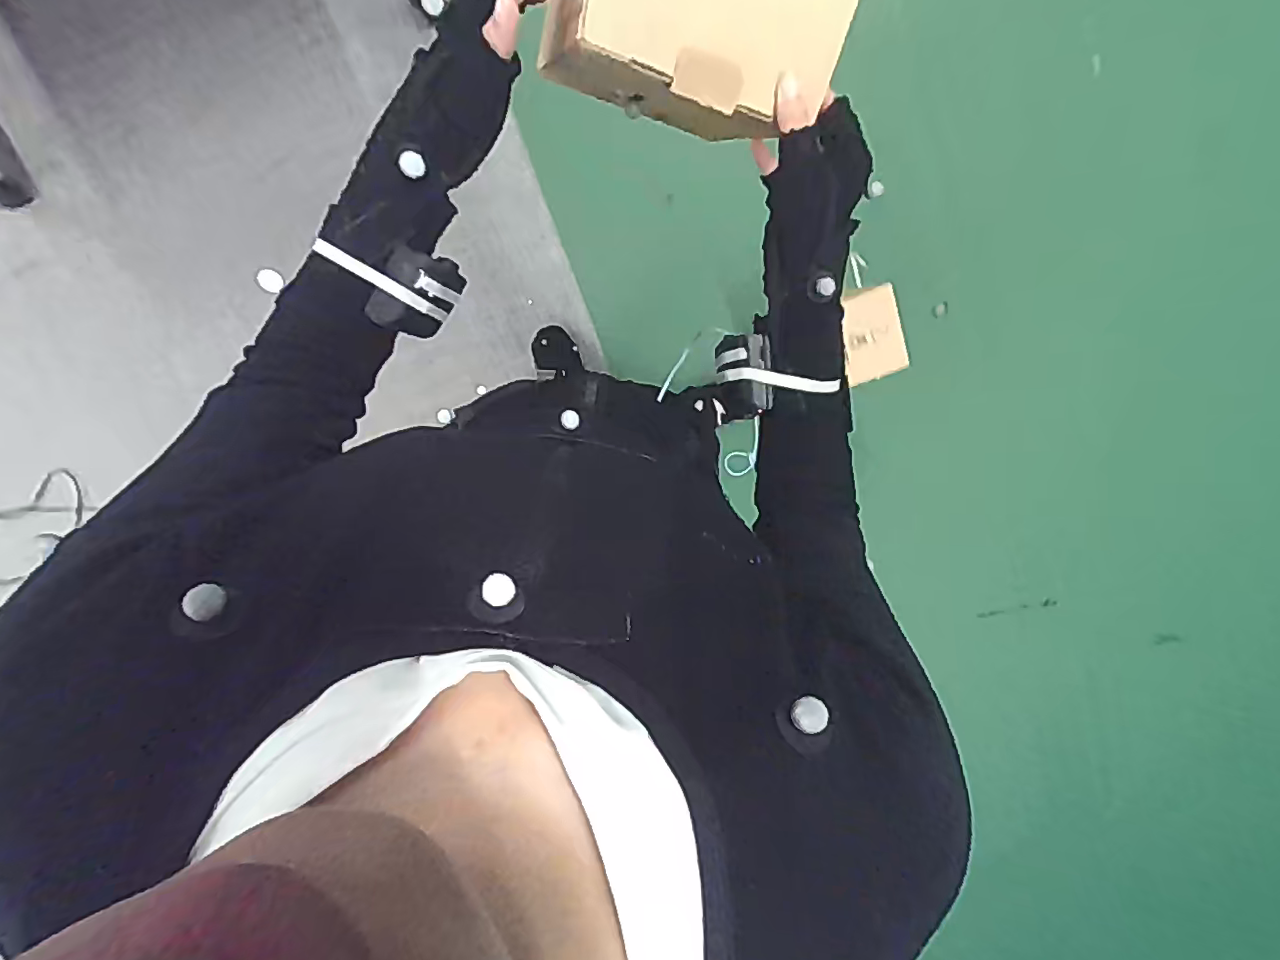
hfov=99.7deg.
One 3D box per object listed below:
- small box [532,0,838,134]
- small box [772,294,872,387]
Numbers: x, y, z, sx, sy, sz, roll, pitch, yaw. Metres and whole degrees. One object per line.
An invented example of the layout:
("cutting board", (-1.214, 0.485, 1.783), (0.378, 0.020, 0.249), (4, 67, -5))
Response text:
("small box", (0.029, -0.362, 0.369), (0.168, 0.176, 0.179), (5, 119, -23))
("small box", (0.428, -0.335, 1.300), (0.179, 0.176, 0.168), (-18, 106, 6))
